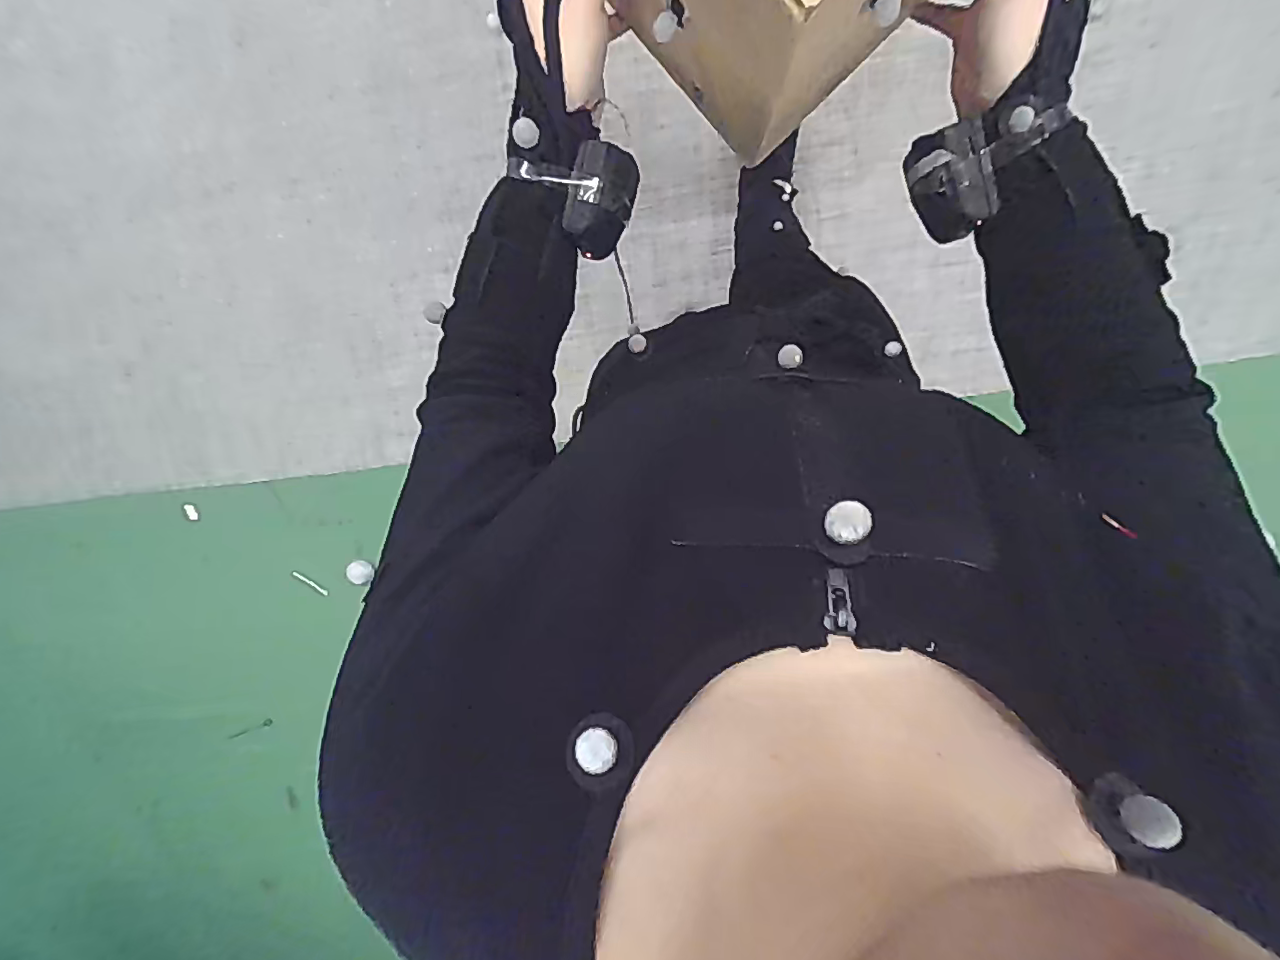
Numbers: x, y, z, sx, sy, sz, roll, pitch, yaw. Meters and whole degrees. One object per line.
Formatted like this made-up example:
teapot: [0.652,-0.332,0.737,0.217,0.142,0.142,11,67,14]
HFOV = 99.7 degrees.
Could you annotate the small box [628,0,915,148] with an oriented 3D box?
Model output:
small box: [0.085,-0.338,0.303,0.179,0.176,0.168,-42,94,10]
